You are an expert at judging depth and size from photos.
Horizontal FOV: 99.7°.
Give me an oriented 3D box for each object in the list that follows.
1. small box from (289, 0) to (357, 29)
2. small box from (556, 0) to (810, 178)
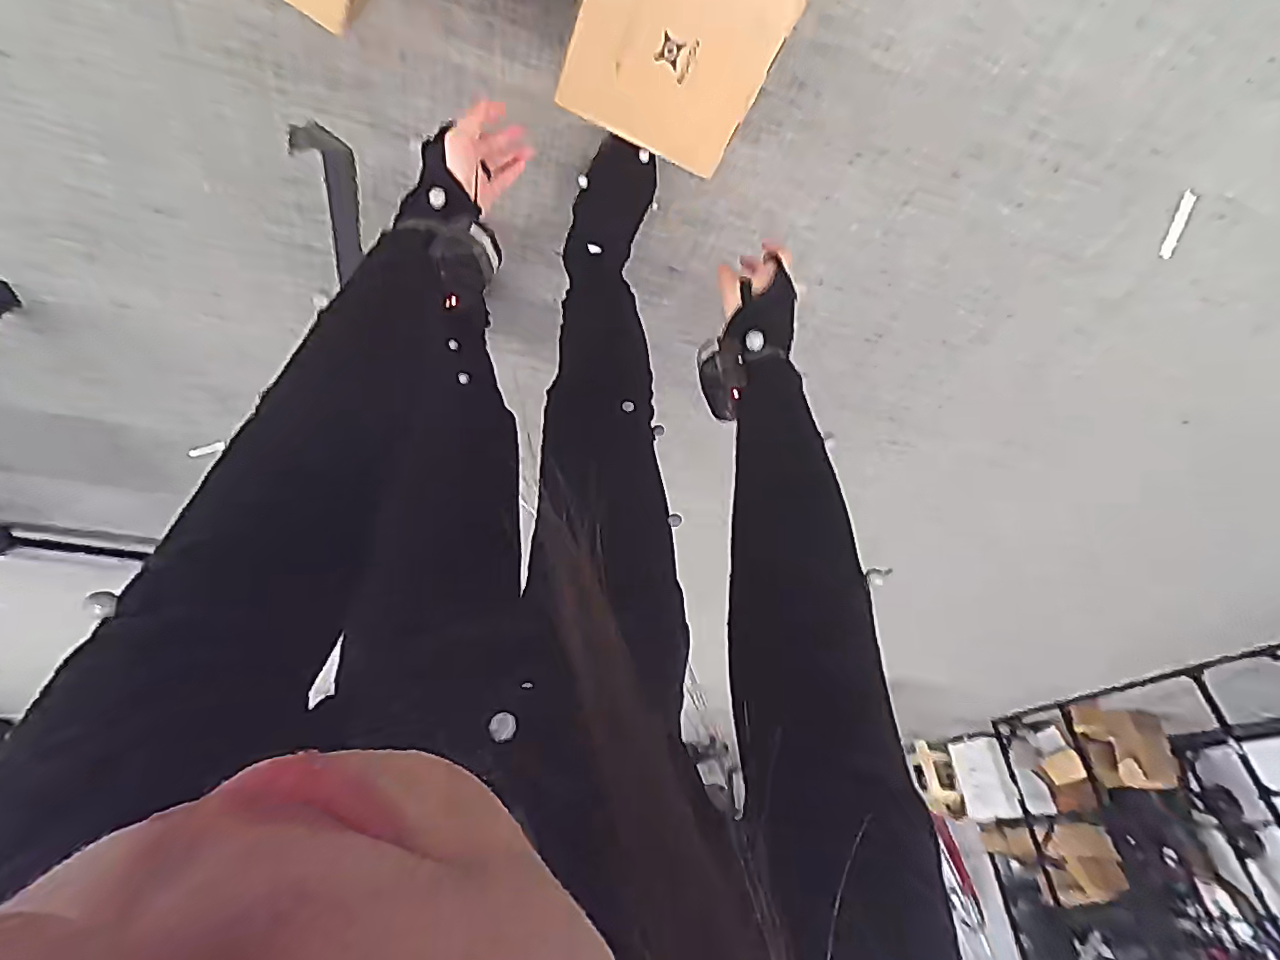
[{"bbox_3d":[-0.278,-0.515,0.416,0.179,0.176,0.168,23,139,-29],"label":"small box"},{"bbox_3d":[0.032,-0.445,0.527,0.179,0.176,0.168,16,140,-21],"label":"small box"}]
